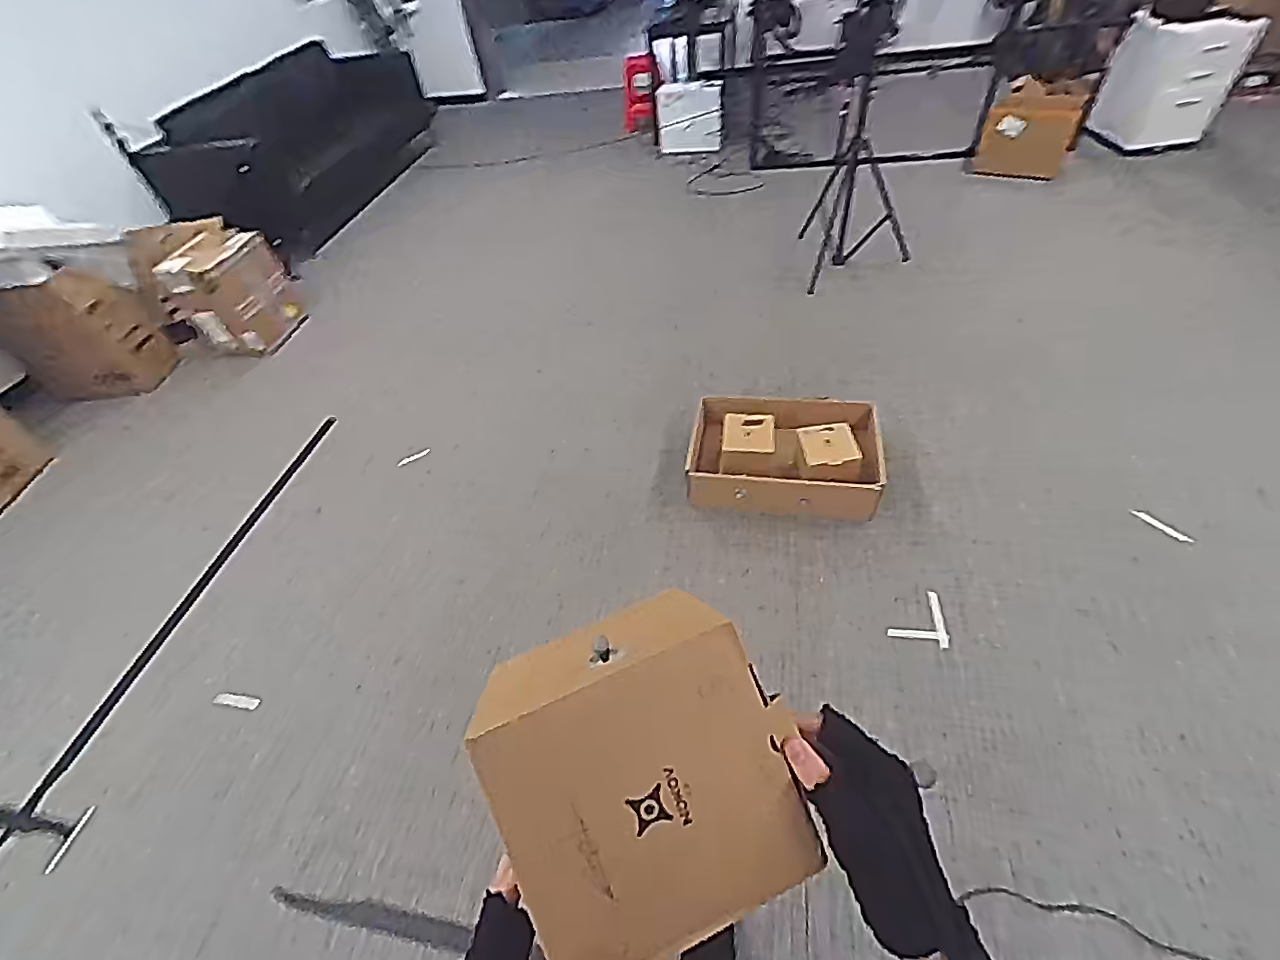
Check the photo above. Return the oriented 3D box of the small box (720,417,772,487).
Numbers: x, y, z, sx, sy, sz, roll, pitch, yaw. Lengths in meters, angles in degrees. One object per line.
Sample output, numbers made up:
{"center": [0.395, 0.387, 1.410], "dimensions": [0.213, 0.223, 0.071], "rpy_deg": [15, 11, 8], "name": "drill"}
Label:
{"center": [0.365, -0.098, 1.877], "dimensions": [0.168, 0.176, 0.179], "rpy_deg": [3, 49, 10], "name": "small box"}
